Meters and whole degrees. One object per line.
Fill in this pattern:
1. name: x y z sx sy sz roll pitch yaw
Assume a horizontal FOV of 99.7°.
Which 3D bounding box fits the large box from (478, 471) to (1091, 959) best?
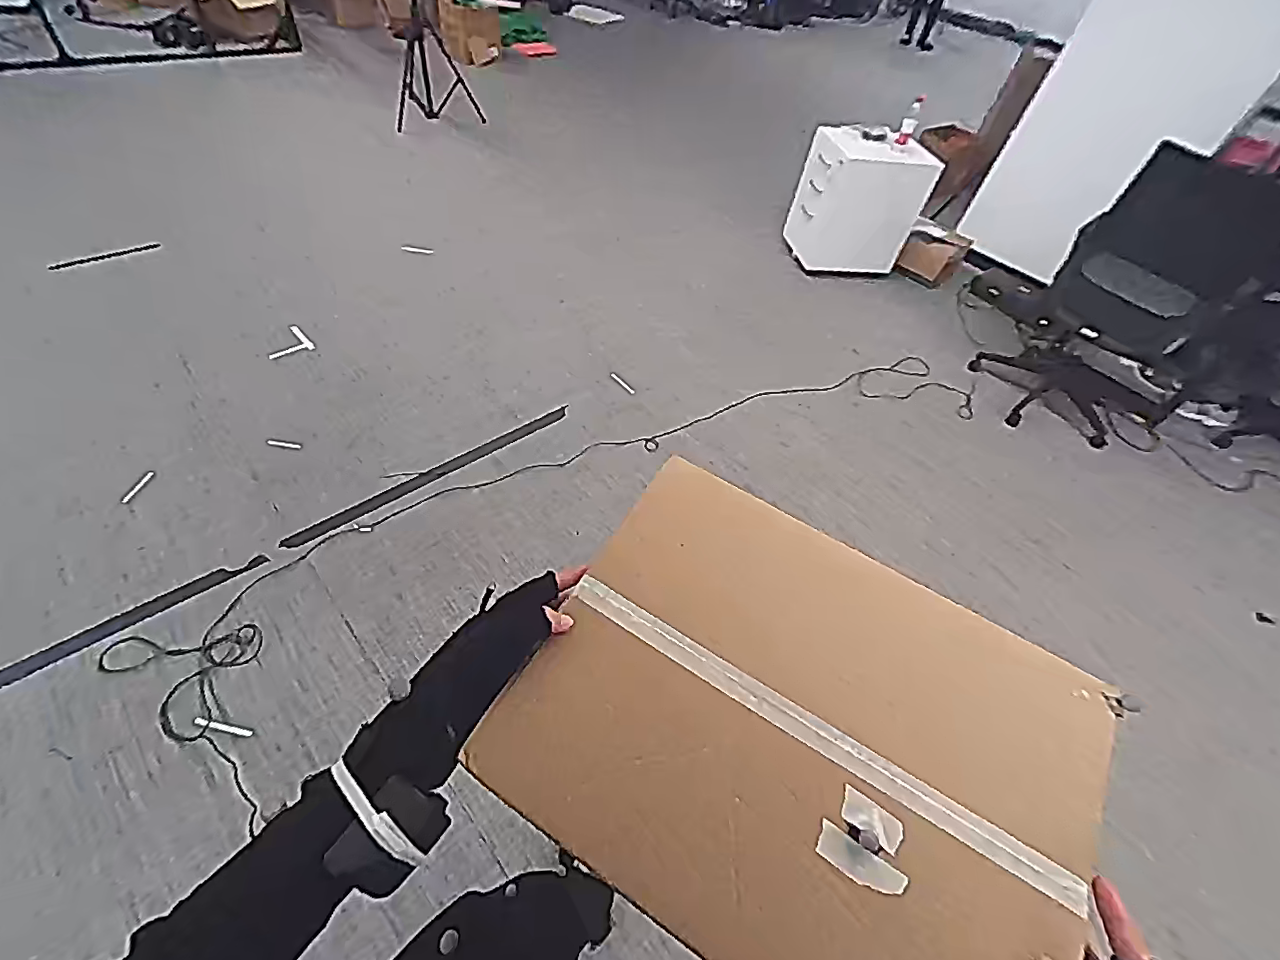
1. large box: 0.117 0.264 0.551 0.408 0.320 0.320 29 64 15
